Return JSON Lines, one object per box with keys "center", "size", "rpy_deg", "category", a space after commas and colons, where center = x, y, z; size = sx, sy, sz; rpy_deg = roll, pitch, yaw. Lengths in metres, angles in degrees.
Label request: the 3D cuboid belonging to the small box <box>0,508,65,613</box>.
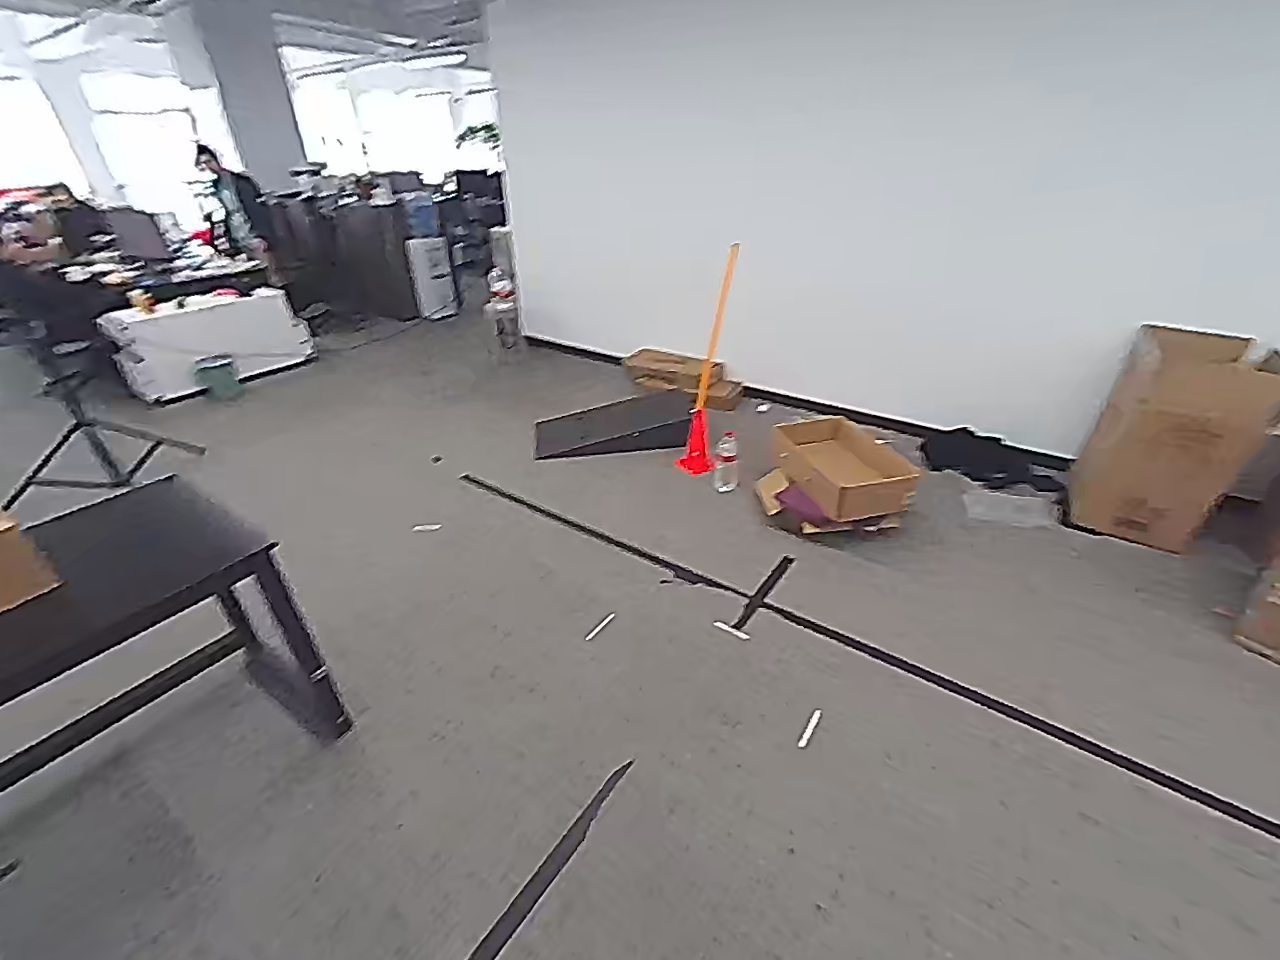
{"center": [-1.389, 0.184, 1.133], "size": [0.168, 0.176, 0.179], "rpy_deg": [17, 36, 26], "category": "small box"}
